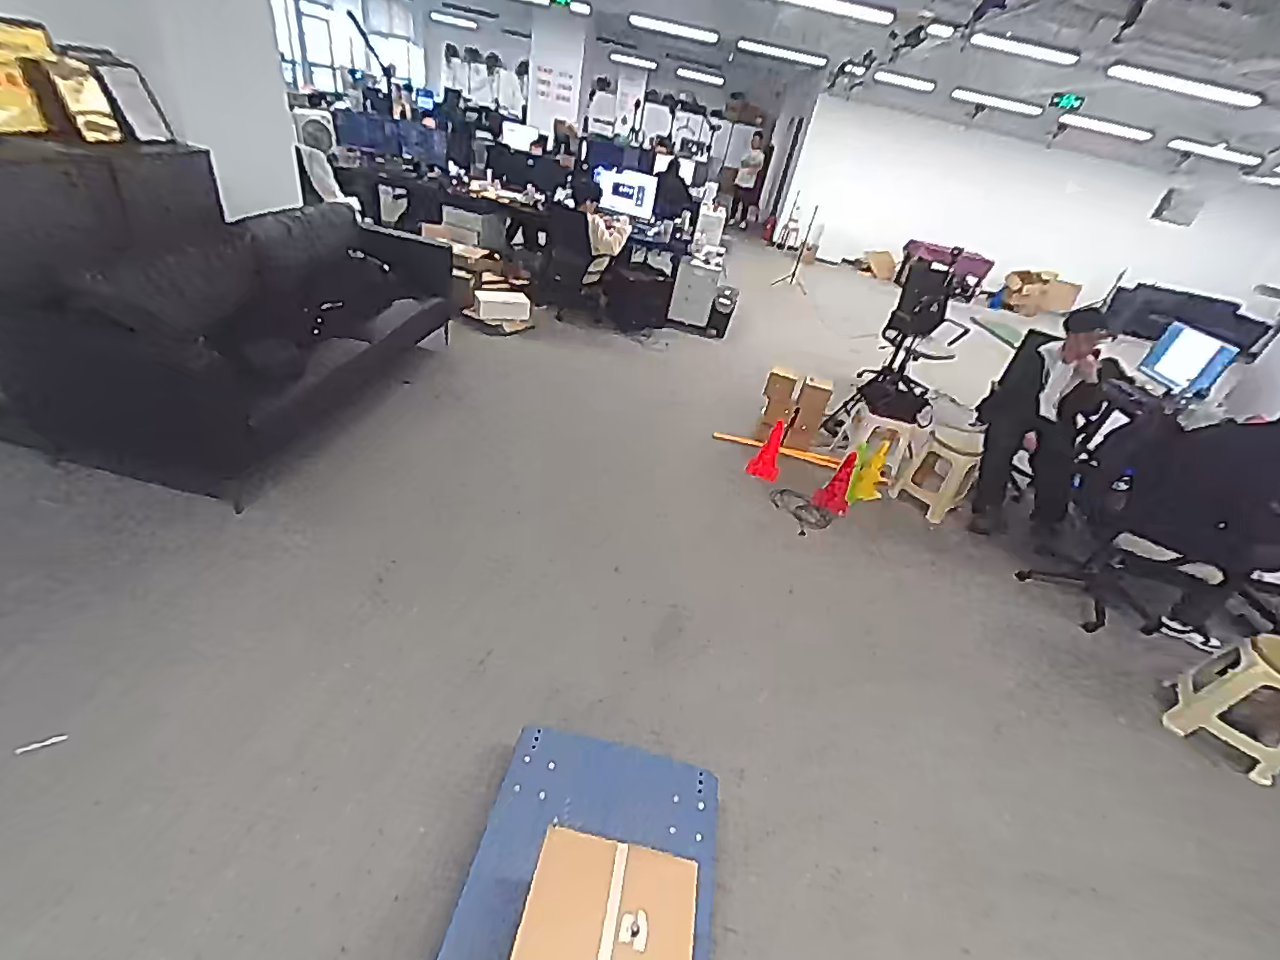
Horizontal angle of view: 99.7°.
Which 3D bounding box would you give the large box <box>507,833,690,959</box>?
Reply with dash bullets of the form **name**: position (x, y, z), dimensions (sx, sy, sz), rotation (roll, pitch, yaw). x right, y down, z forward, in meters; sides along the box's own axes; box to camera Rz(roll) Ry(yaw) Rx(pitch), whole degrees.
- **large box**: position (-0.100, 0.971, 0.996), dimensions (0.320, 0.320, 0.408), rotation (14, 32, 1)
